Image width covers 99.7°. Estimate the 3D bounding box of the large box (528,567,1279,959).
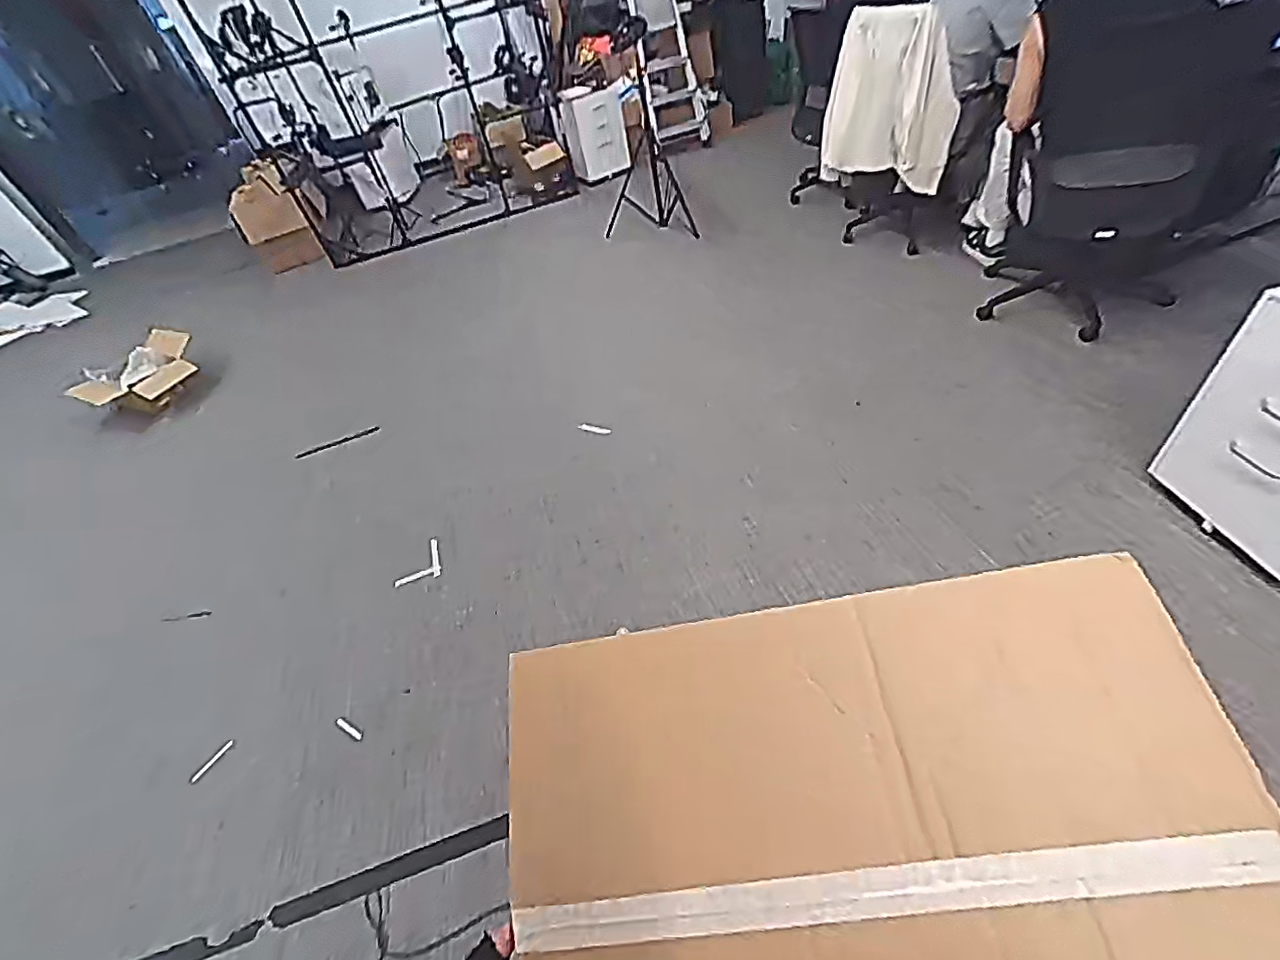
[{"bbox_3d":[0.160,0.296,0.431,0.408,0.320,0.320,-12,63,8],"label":"large box"}]
